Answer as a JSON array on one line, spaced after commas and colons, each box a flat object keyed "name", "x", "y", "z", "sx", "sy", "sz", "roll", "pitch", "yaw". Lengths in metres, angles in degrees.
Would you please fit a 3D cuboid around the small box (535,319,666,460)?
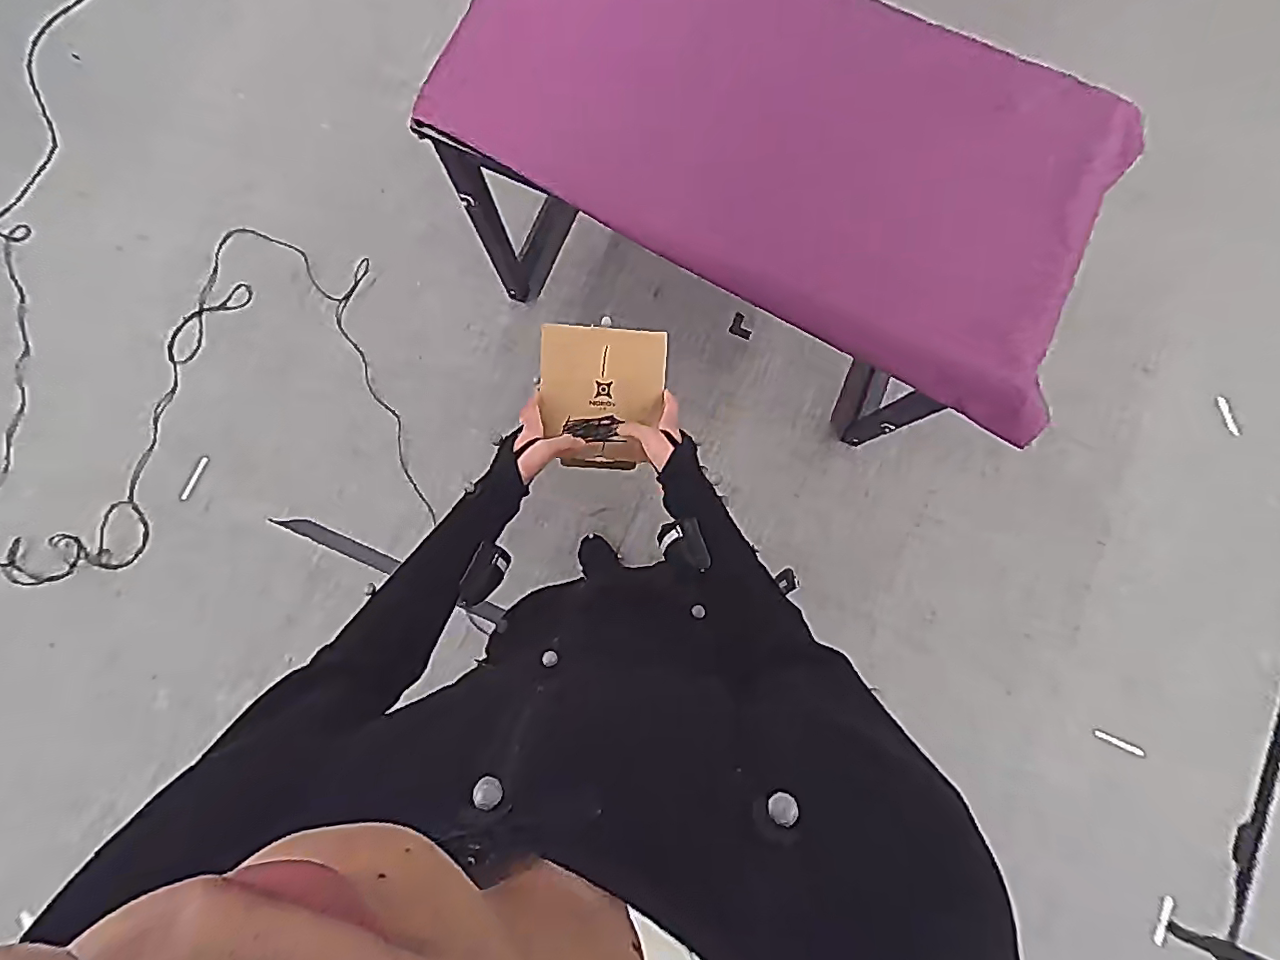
[{"name": "small box", "x": -0.062, "y": -0.138, "z": 0.793, "sx": 0.168, "sy": 0.176, "sz": 0.179, "roll": 3, "pitch": 105, "yaw": -8}]
